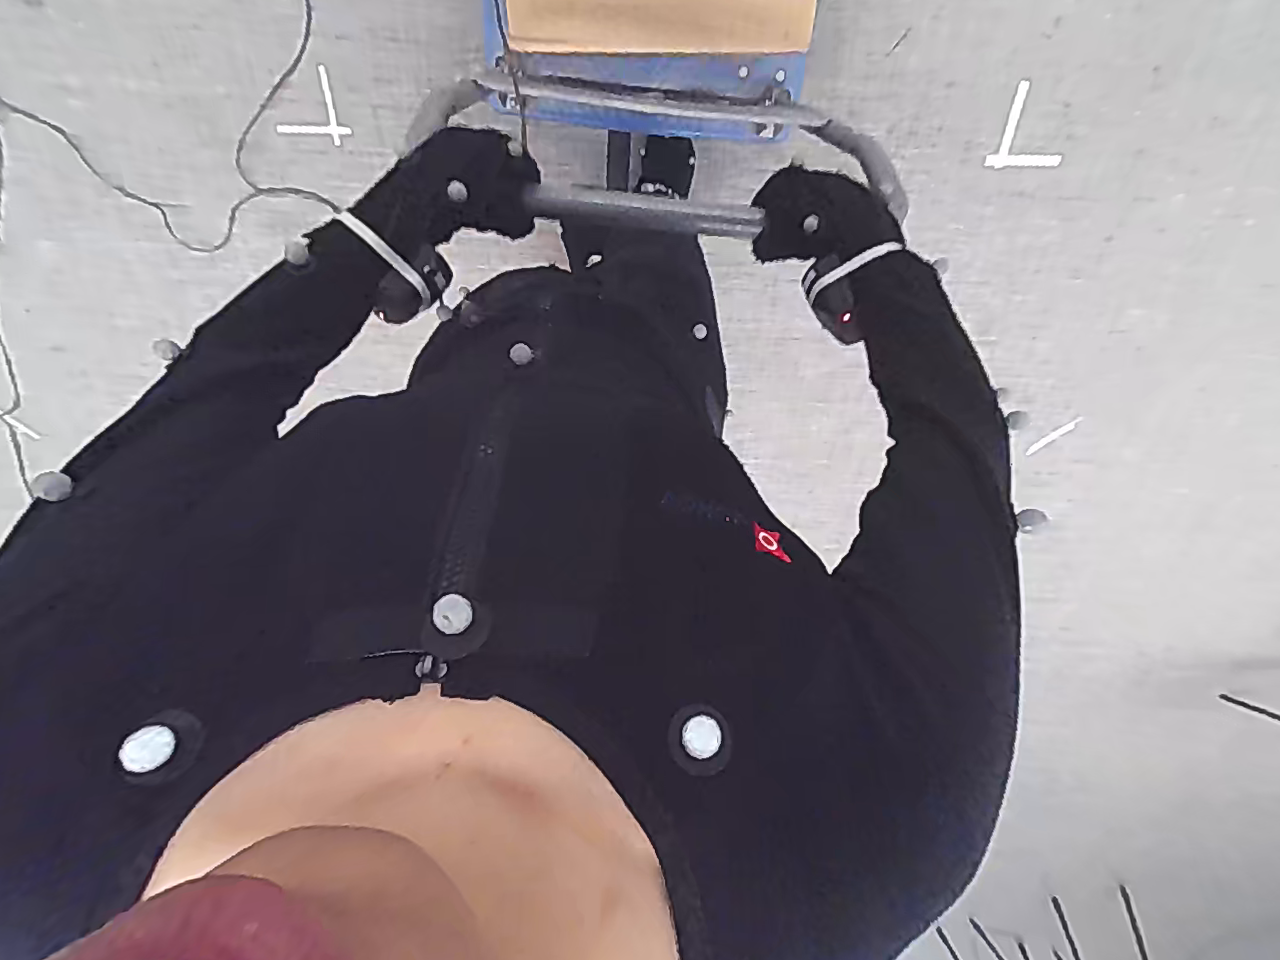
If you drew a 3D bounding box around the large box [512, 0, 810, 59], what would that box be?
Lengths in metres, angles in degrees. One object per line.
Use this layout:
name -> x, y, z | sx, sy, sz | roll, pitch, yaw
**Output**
large box -> 0.020, -0.803, 0.771 | 0.408, 0.320, 0.320 | -2, 128, -2
